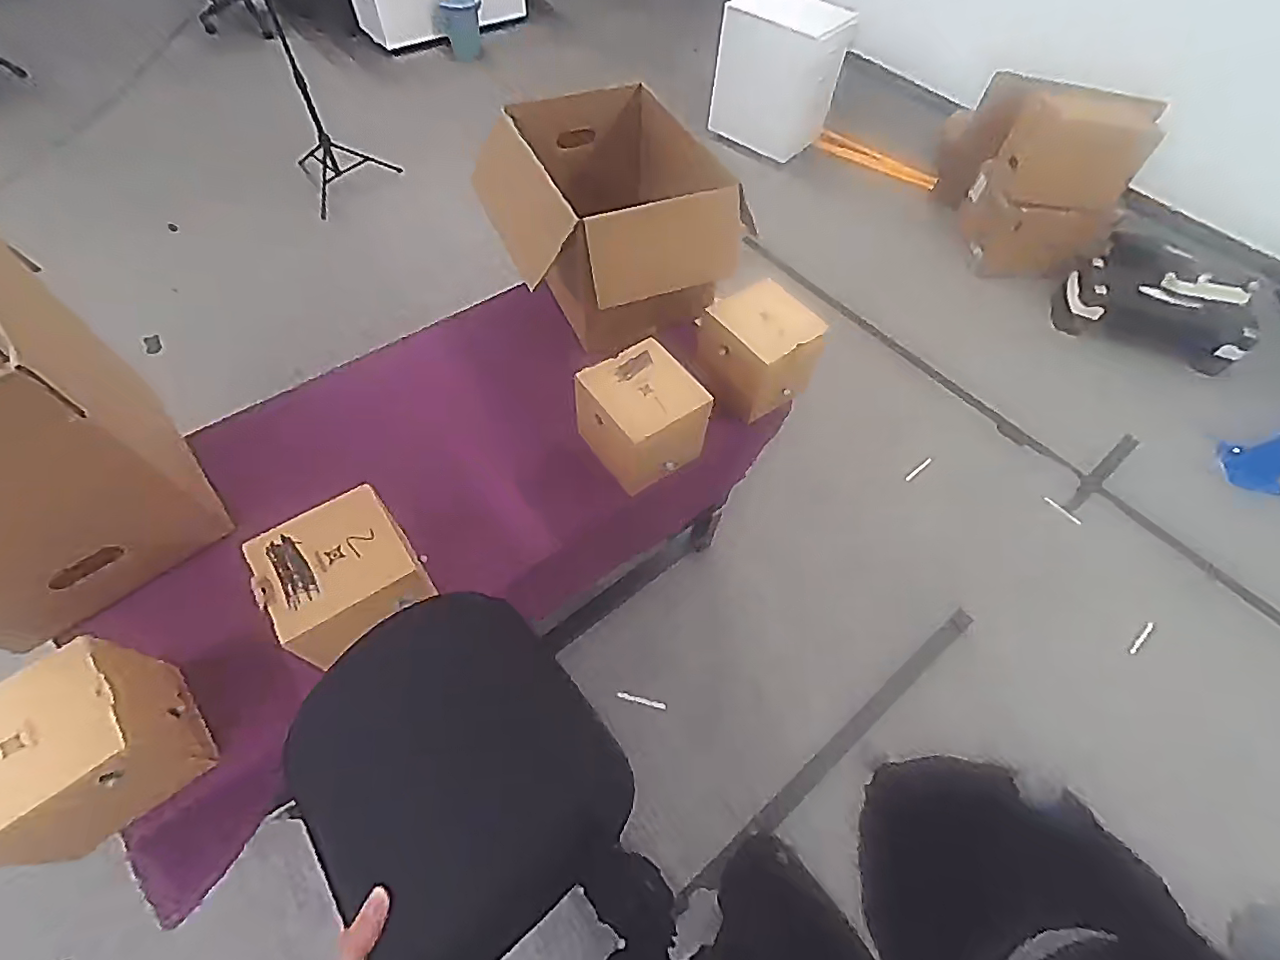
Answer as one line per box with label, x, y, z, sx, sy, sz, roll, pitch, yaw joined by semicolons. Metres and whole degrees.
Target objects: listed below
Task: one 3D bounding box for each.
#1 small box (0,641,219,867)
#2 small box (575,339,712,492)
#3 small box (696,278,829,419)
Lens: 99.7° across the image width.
small box;-0.674;0.335;0.656;0.179;0.176;0.168;-37;67;-24
small box;0.001;-0.111;0.963;0.168;0.176;0.179;-32;65;-20
small box;0.227;-0.254;1.059;0.168;0.176;0.179;-31;64;-19
